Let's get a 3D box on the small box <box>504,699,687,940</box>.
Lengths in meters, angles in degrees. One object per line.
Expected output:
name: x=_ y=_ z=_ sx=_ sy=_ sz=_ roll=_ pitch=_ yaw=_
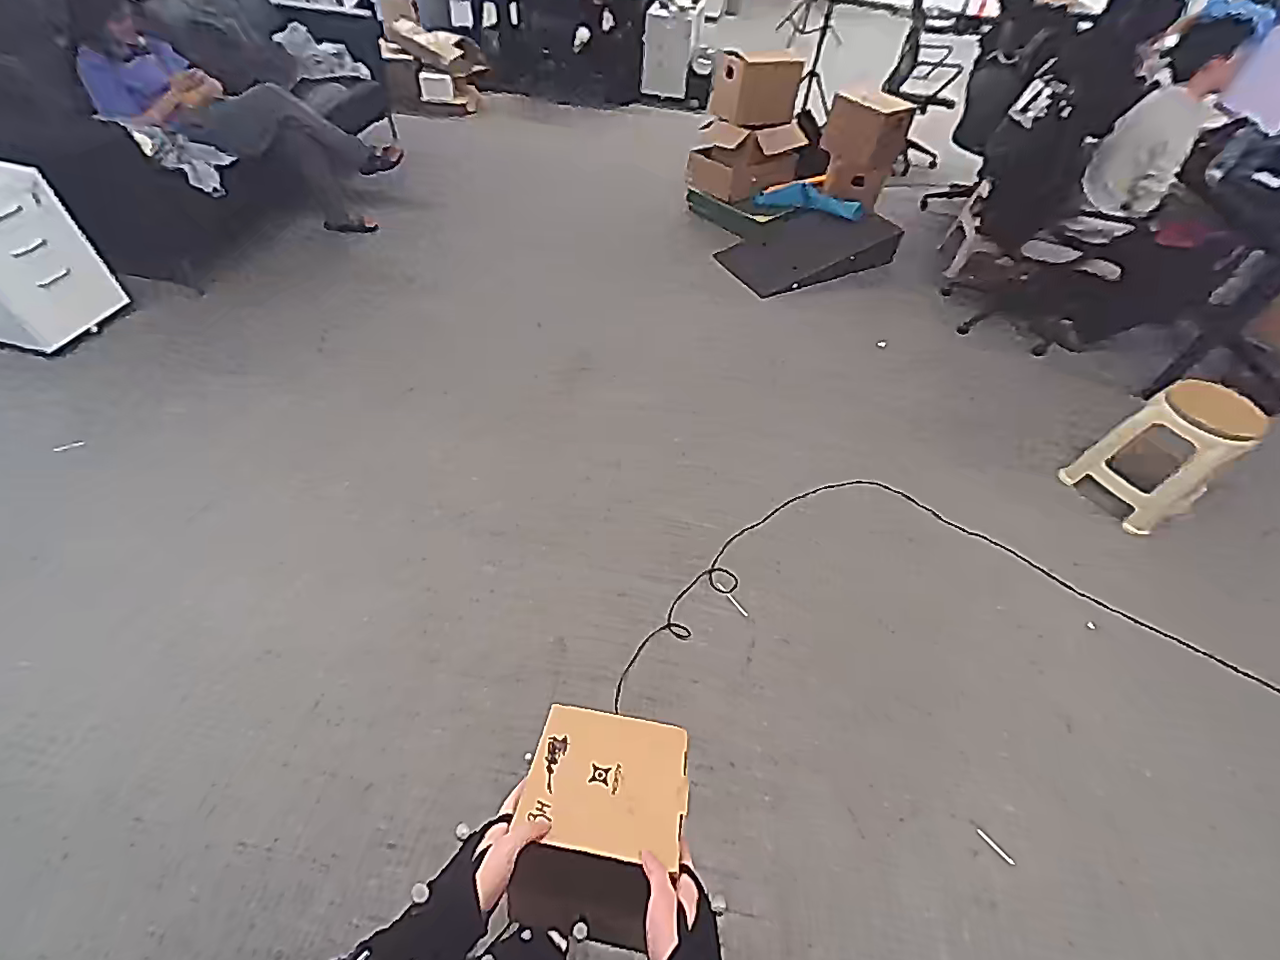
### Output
small box: x=-0.050 y=0.400 z=0.643 sx=0.179 sy=0.176 sz=0.168 roll=11 pitch=25 yaw=3
